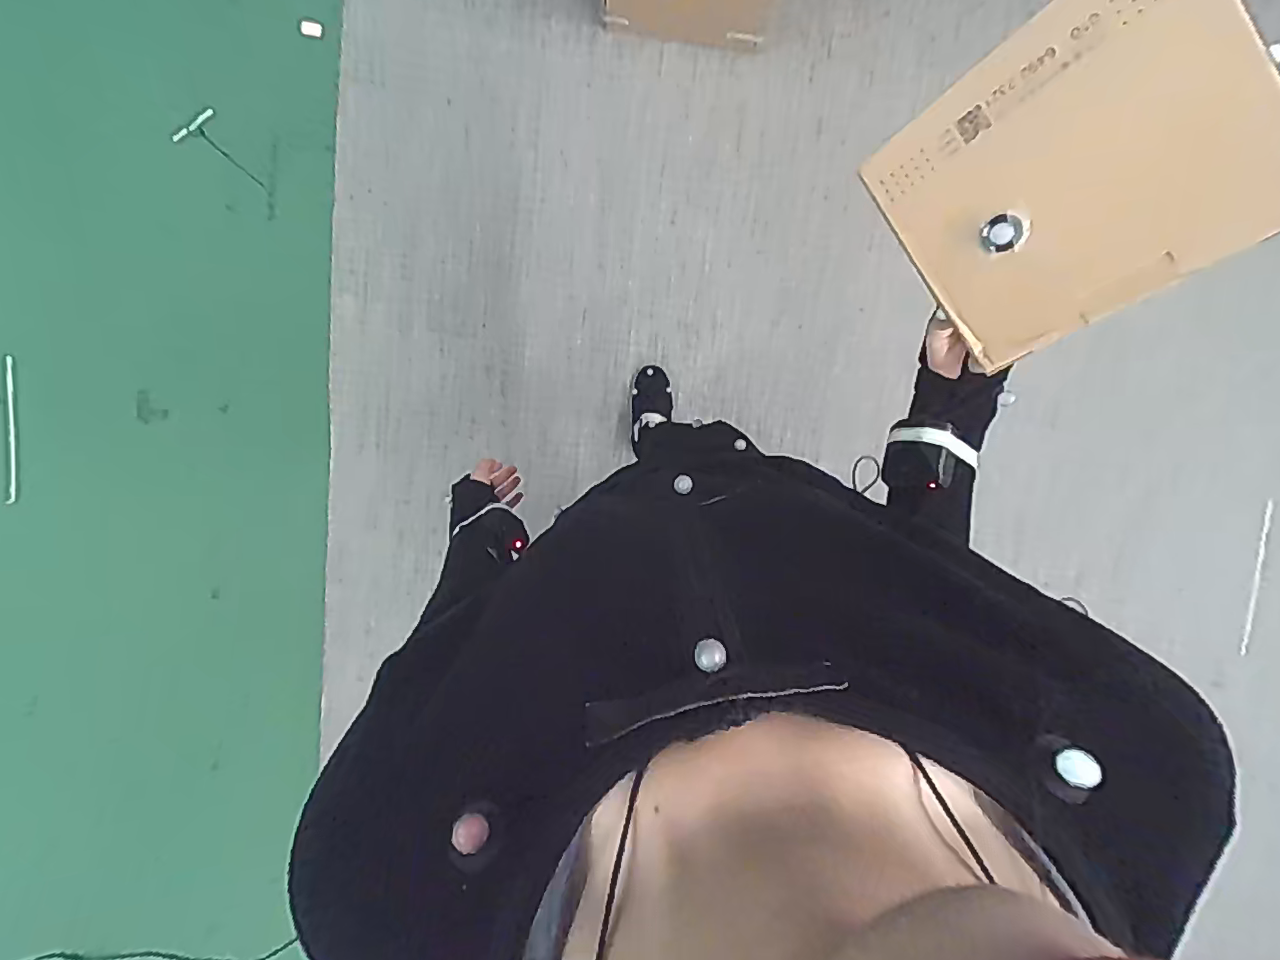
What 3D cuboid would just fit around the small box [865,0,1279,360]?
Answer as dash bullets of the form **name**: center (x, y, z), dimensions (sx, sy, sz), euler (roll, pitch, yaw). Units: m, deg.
- **small box**: center (0.277, -0.214, 0.369), dimensions (0.168, 0.179, 0.176), euler (-31, 98, 39)
